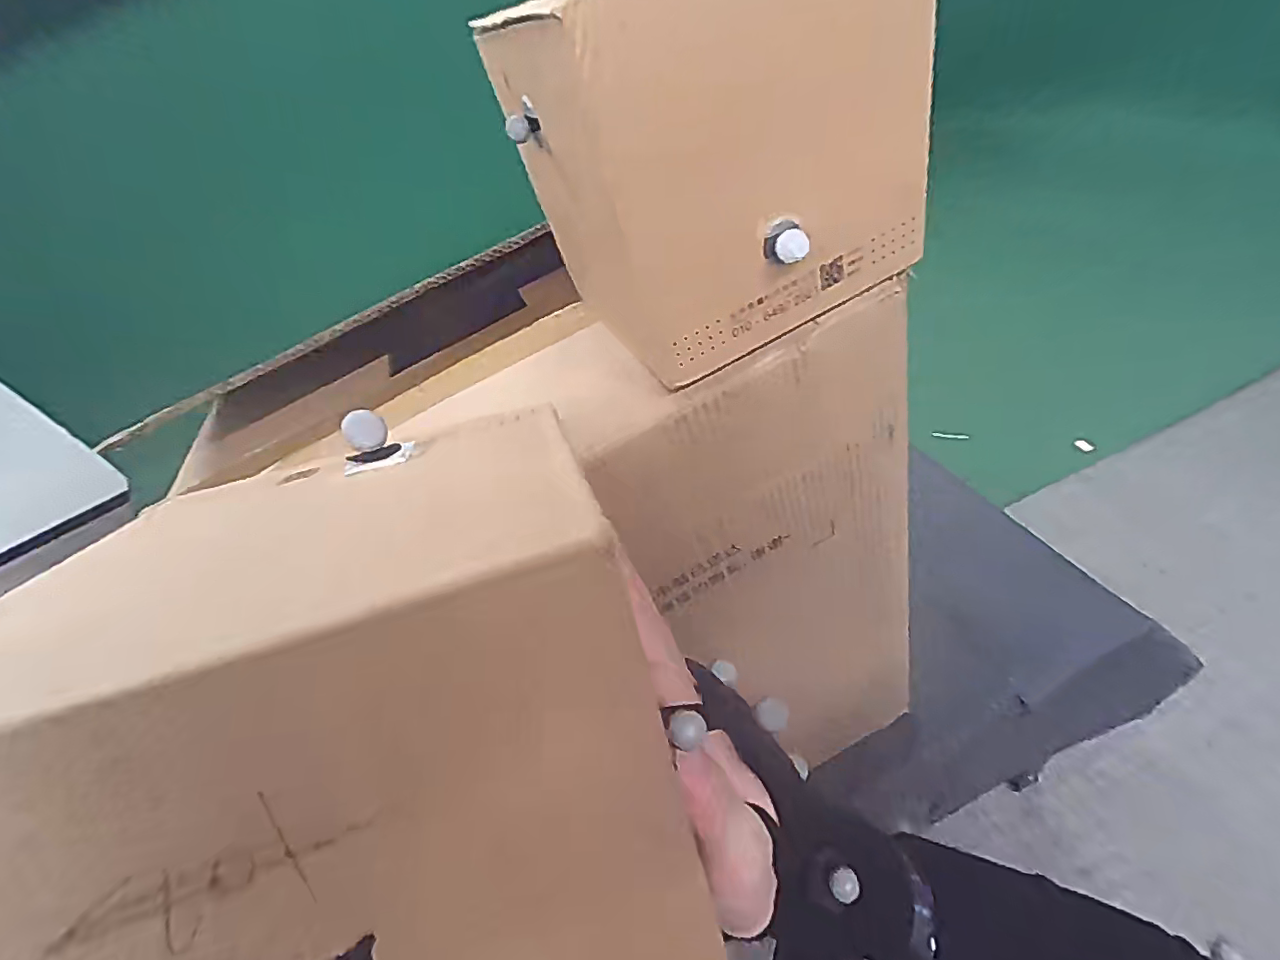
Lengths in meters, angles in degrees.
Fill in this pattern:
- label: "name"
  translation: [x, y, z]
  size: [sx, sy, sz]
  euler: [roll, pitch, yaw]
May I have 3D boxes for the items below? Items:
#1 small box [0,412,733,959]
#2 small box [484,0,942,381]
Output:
- label: "small box"
  translation: [-0.078, 0.091, 0.199]
  size: [0.168, 0.179, 0.176]
  euler: [-17, 21, -8]
- label: "small box"
  translation: [0.036, -0.186, 0.309]
  size: [0.168, 0.176, 0.179]
  euler: [-28, 44, -4]
